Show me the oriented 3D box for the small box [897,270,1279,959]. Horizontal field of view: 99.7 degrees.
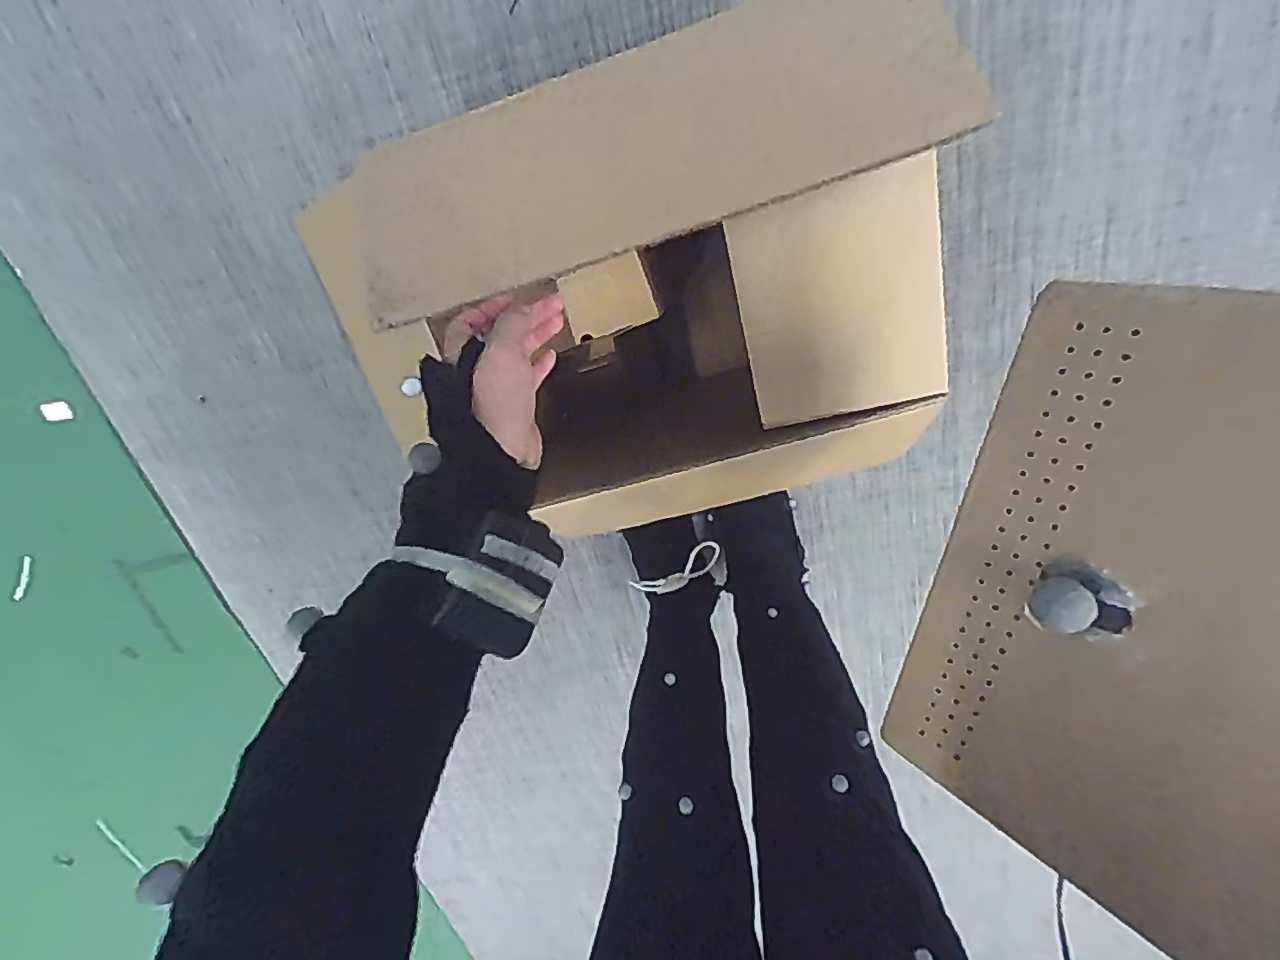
[{"bbox_3d":[0.218,0.037,0.181,0.168,0.176,0.179,-6,114,-37],"label":"small box"}]
